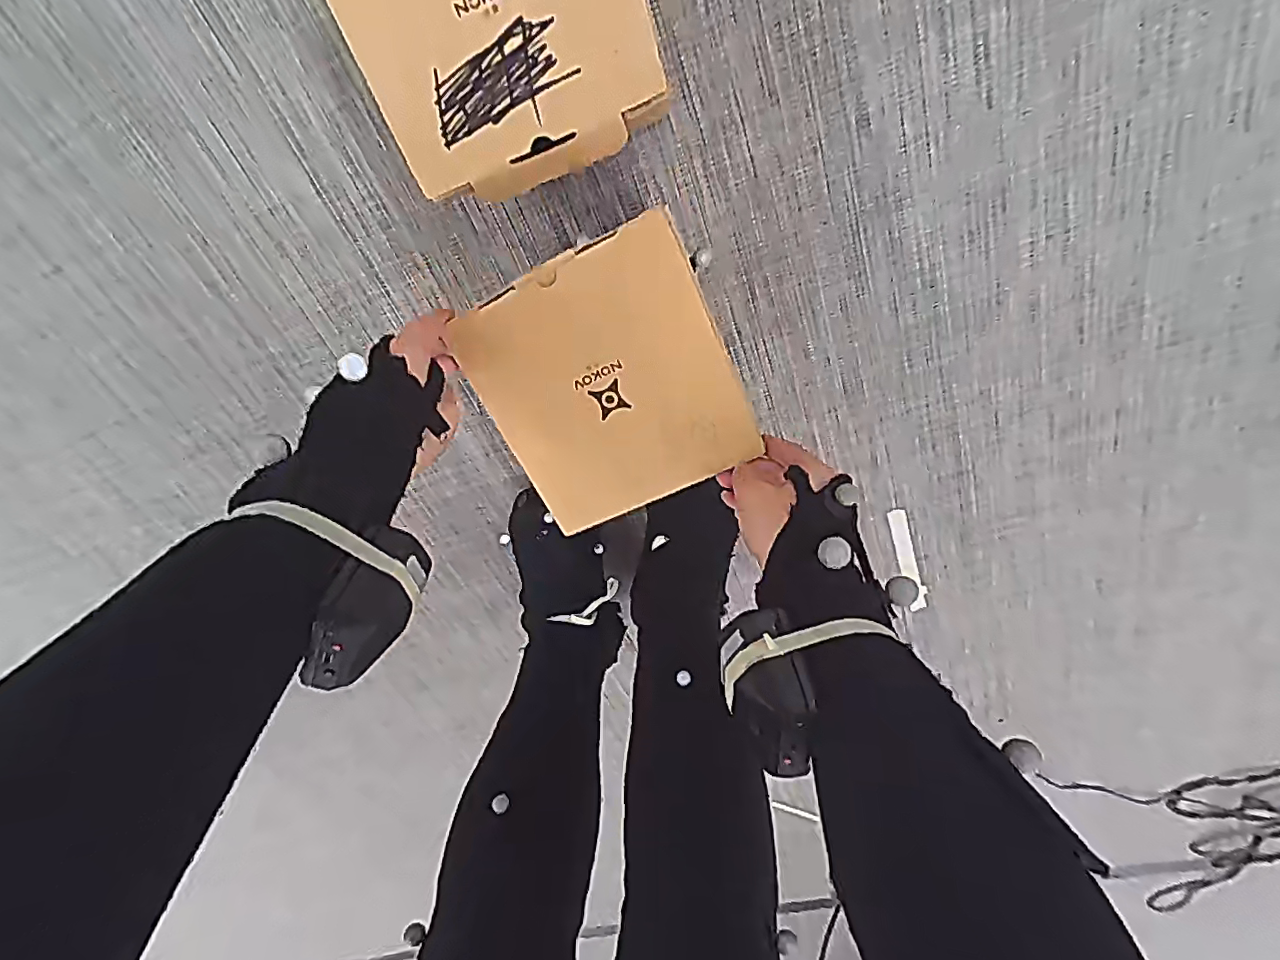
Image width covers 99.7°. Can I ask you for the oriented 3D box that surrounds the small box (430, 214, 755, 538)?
[{"bbox_3d":[-0.022,-0.089,0.433,0.168,0.176,0.179,-24,110,13],"label":"small box"}]

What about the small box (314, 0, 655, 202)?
[{"bbox_3d":[-0.091,-0.309,0.355,0.168,0.176,0.179,-17,118,11],"label":"small box"}]
